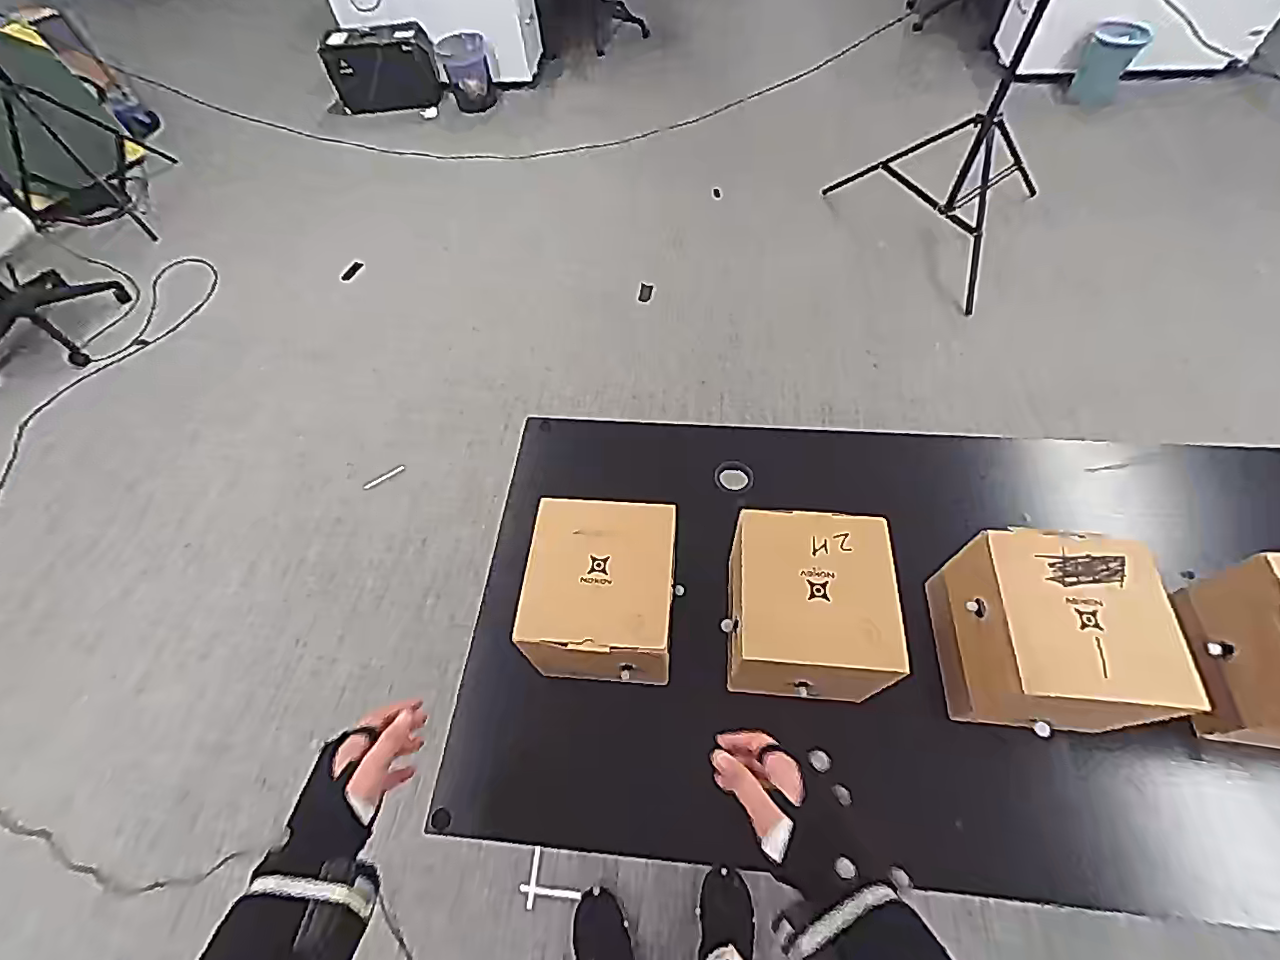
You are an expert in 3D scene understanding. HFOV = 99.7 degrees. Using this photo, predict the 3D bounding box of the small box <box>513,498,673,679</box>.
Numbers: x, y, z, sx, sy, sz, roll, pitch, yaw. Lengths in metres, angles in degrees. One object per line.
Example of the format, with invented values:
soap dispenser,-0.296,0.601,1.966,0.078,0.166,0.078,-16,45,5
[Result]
small box,-0.044,0.140,0.675,0.168,0.176,0.179,2,57,4

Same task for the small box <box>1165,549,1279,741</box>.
small box,0.735,0.191,0.593,0.179,0.176,0.168,5,59,8

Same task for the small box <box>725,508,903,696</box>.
small box,0.193,0.153,0.651,0.168,0.176,0.179,3,58,5

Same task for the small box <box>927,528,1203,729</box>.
small box,0.456,0.174,0.622,0.168,0.176,0.179,3,59,6
